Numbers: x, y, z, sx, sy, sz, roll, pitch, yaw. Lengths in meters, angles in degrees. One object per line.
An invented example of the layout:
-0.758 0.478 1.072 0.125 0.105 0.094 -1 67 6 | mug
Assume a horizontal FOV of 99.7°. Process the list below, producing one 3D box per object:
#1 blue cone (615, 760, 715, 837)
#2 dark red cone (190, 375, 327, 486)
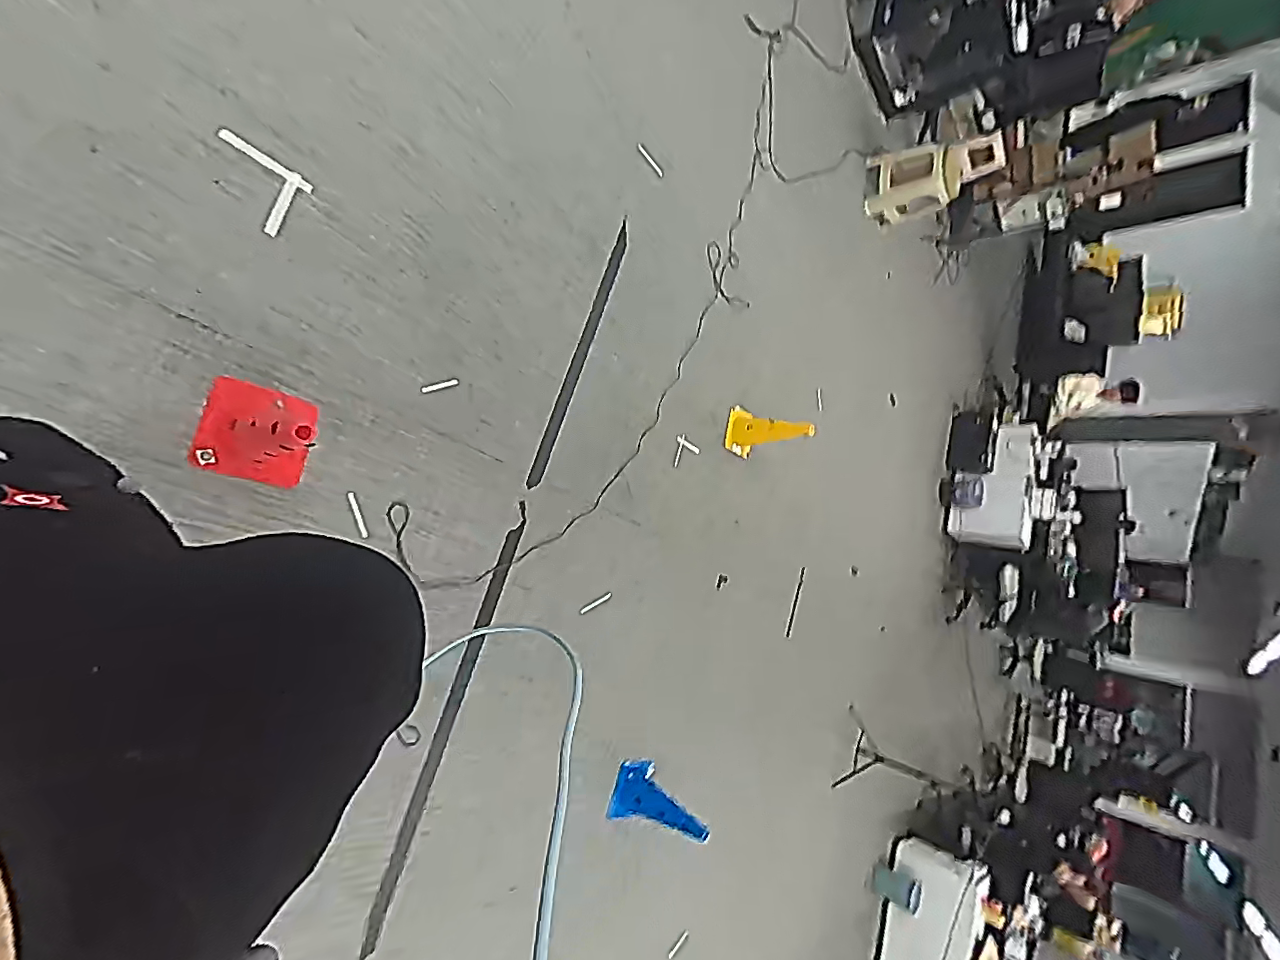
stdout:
0.101 1.179 1.950 0.192 0.380 0.193 31 71 -44 | blue cone
-0.678 -0.095 1.019 0.201 0.394 0.202 19 79 -46 | dark red cone
